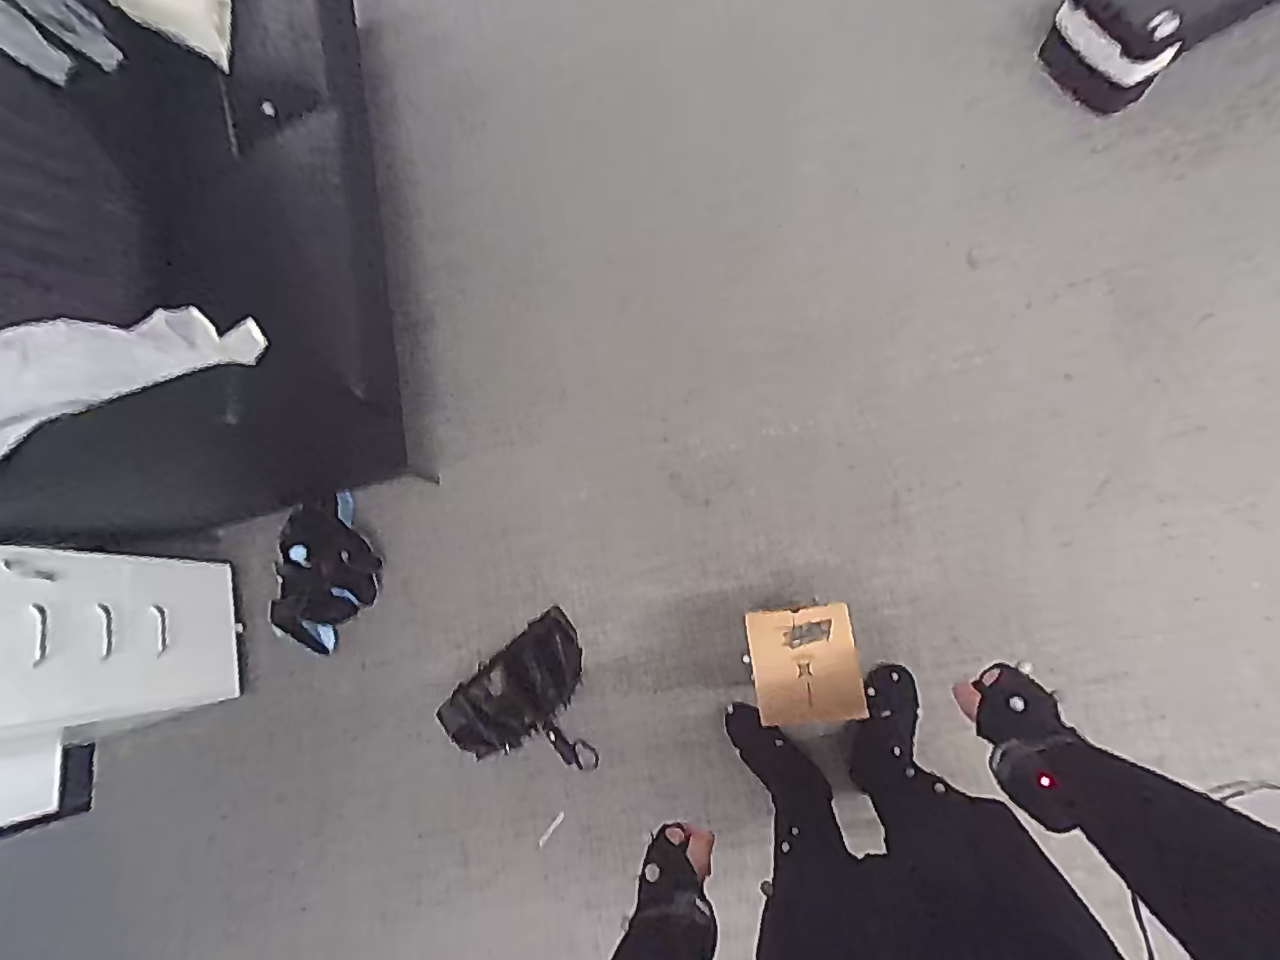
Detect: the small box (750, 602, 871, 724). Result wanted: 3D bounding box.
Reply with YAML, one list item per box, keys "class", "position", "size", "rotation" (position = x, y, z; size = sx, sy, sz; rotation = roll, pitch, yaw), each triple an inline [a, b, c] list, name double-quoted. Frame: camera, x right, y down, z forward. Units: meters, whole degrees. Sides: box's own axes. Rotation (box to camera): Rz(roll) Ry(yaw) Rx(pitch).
- class: "small box"
  position: [0.285, 0.311, 0.941]
  size: [0.168, 0.176, 0.179]
  rotation: [-9, 76, 11]
